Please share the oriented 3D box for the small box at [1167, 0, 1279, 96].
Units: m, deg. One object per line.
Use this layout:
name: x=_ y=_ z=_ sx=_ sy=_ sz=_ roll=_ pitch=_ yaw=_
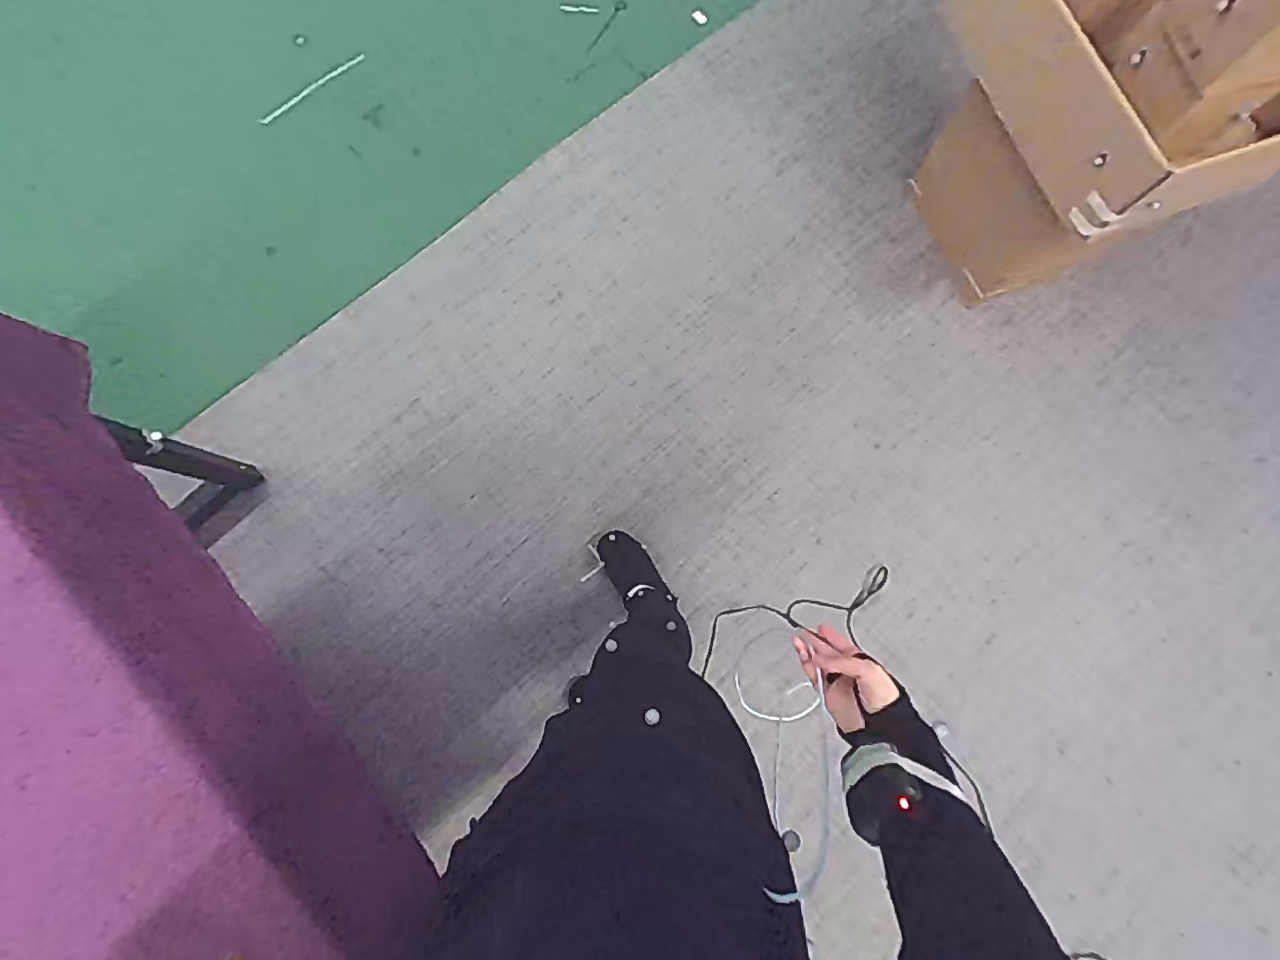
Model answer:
small box: x=0.935 y=-0.703 z=0.787 sx=0.179 sy=0.176 sz=0.168 roll=-12 pitch=79 yaw=-2
